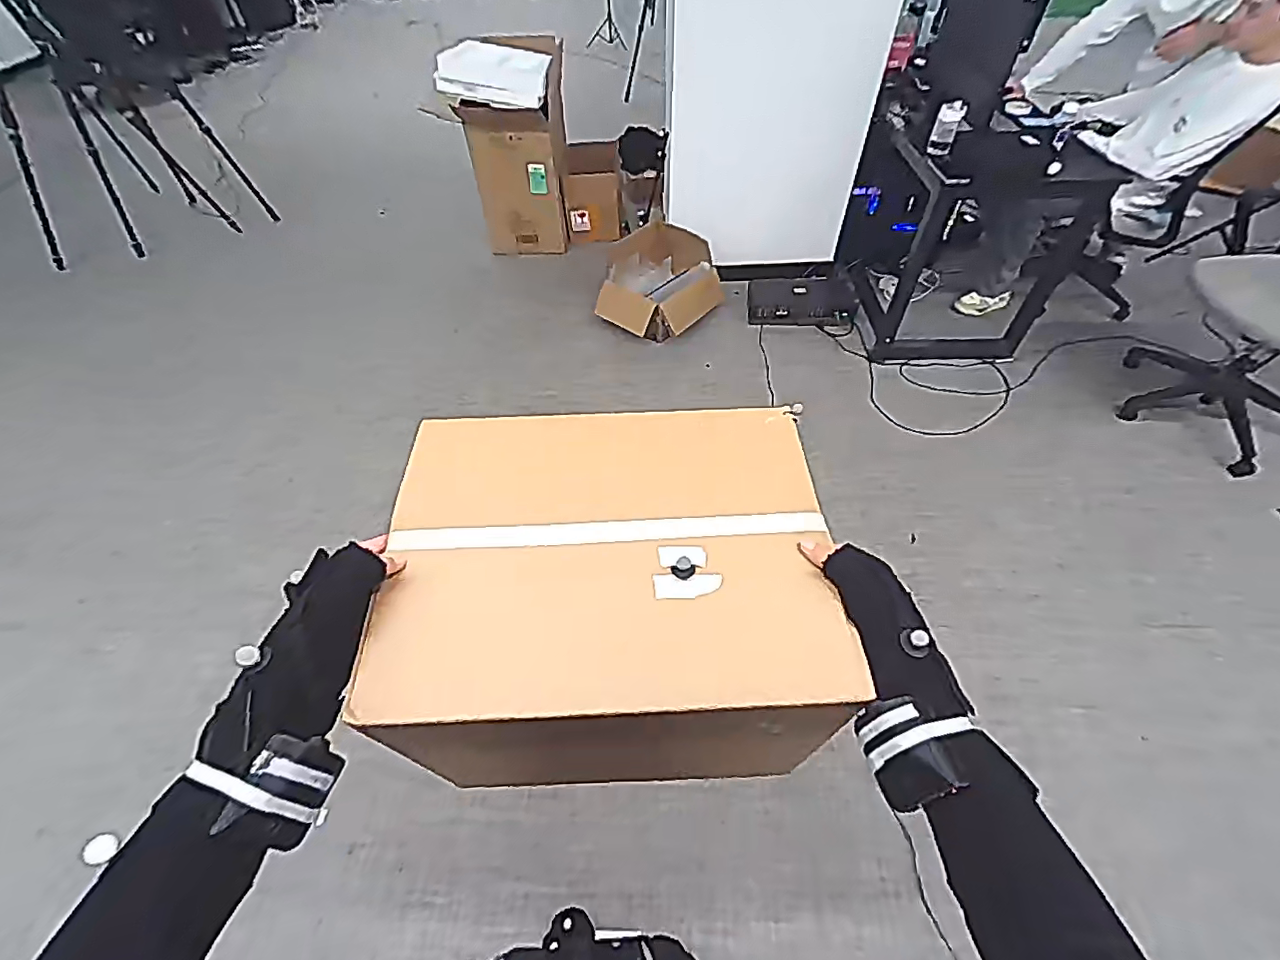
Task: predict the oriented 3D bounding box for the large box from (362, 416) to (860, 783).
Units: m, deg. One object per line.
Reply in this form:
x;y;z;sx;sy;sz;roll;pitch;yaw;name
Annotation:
-0.027;0.146;0.632;0.408;0.320;0.320;-2;53;-1;large box
